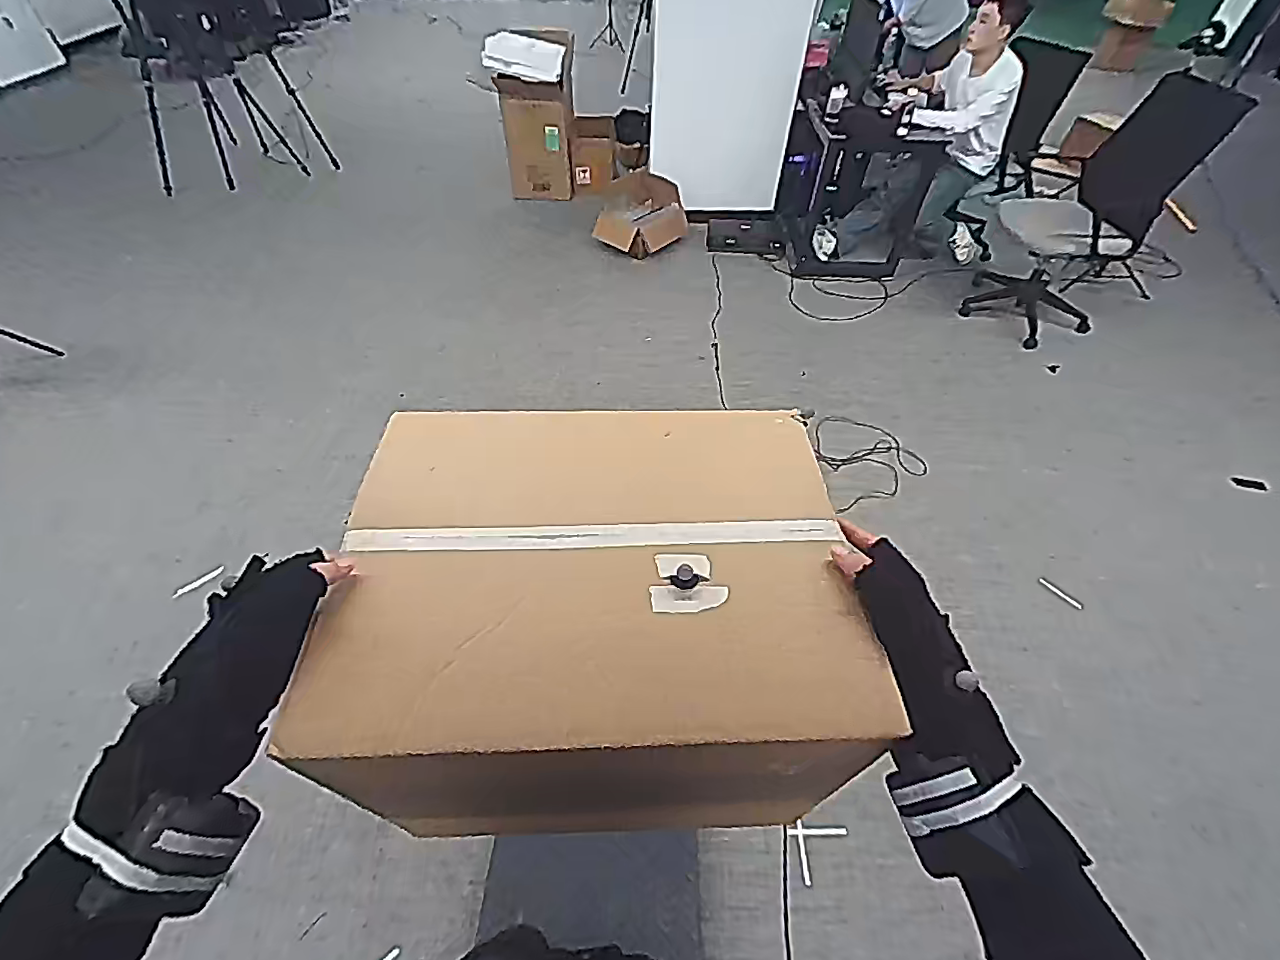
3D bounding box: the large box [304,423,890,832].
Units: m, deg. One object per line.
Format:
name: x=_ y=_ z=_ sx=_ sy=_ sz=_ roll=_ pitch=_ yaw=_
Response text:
large box: x=-0.036 y=0.154 z=0.569 sx=0.408 sy=0.320 sz=0.320 roll=0 pitch=49 yaw=-3
